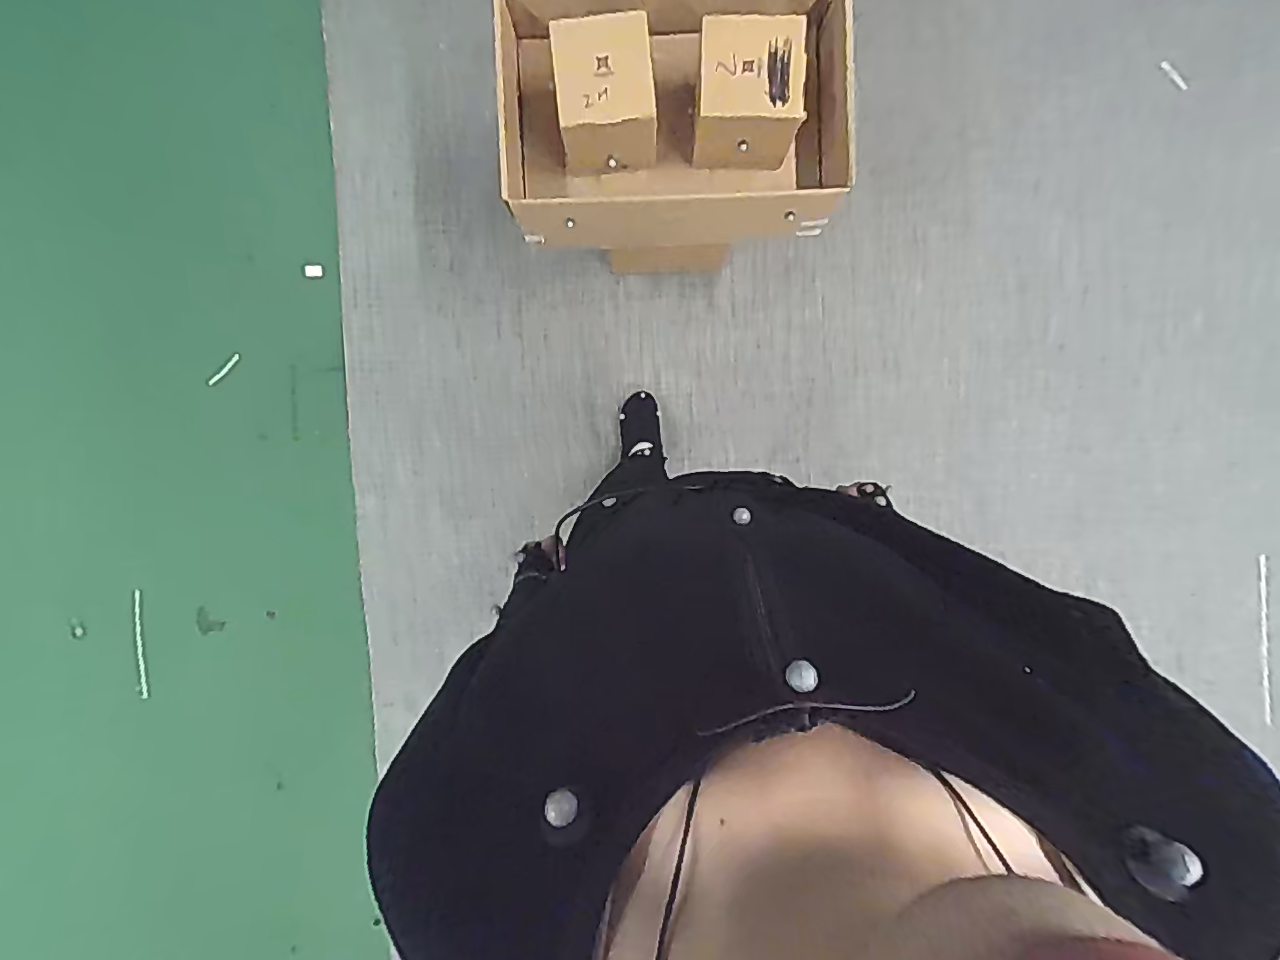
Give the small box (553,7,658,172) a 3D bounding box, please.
[{"bbox_3d":[-0.059,-0.692,0.976,0.168,0.176,0.179,-5,93,1],"label":"small box"}]
